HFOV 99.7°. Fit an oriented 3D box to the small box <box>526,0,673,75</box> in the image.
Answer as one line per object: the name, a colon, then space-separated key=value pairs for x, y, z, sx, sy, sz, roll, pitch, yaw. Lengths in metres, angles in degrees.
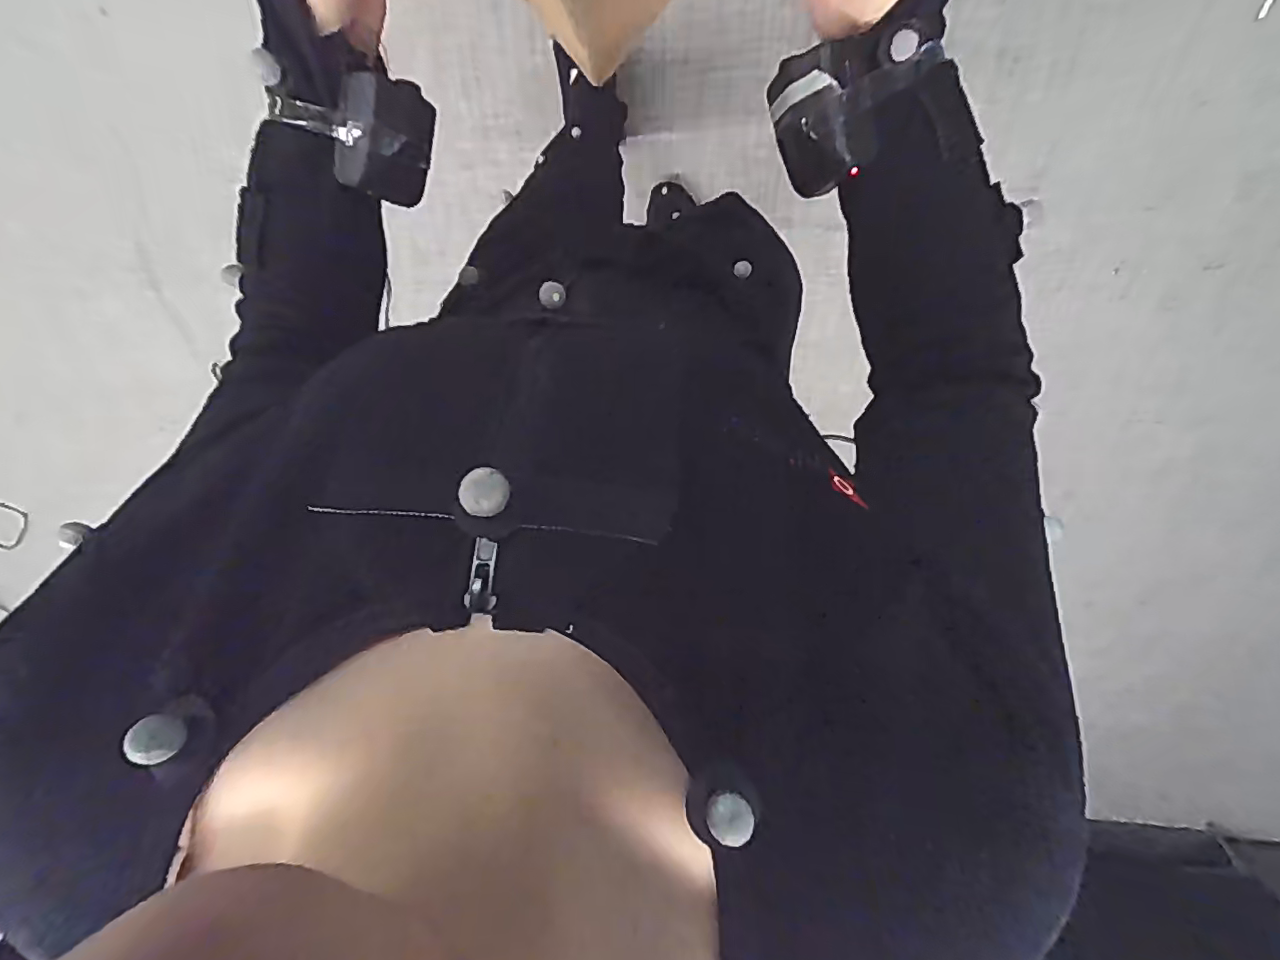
small box: x=-0.026 y=-0.329 z=0.232 sx=0.179 sy=0.176 sz=0.168 roll=-41 pitch=105 yaw=18
